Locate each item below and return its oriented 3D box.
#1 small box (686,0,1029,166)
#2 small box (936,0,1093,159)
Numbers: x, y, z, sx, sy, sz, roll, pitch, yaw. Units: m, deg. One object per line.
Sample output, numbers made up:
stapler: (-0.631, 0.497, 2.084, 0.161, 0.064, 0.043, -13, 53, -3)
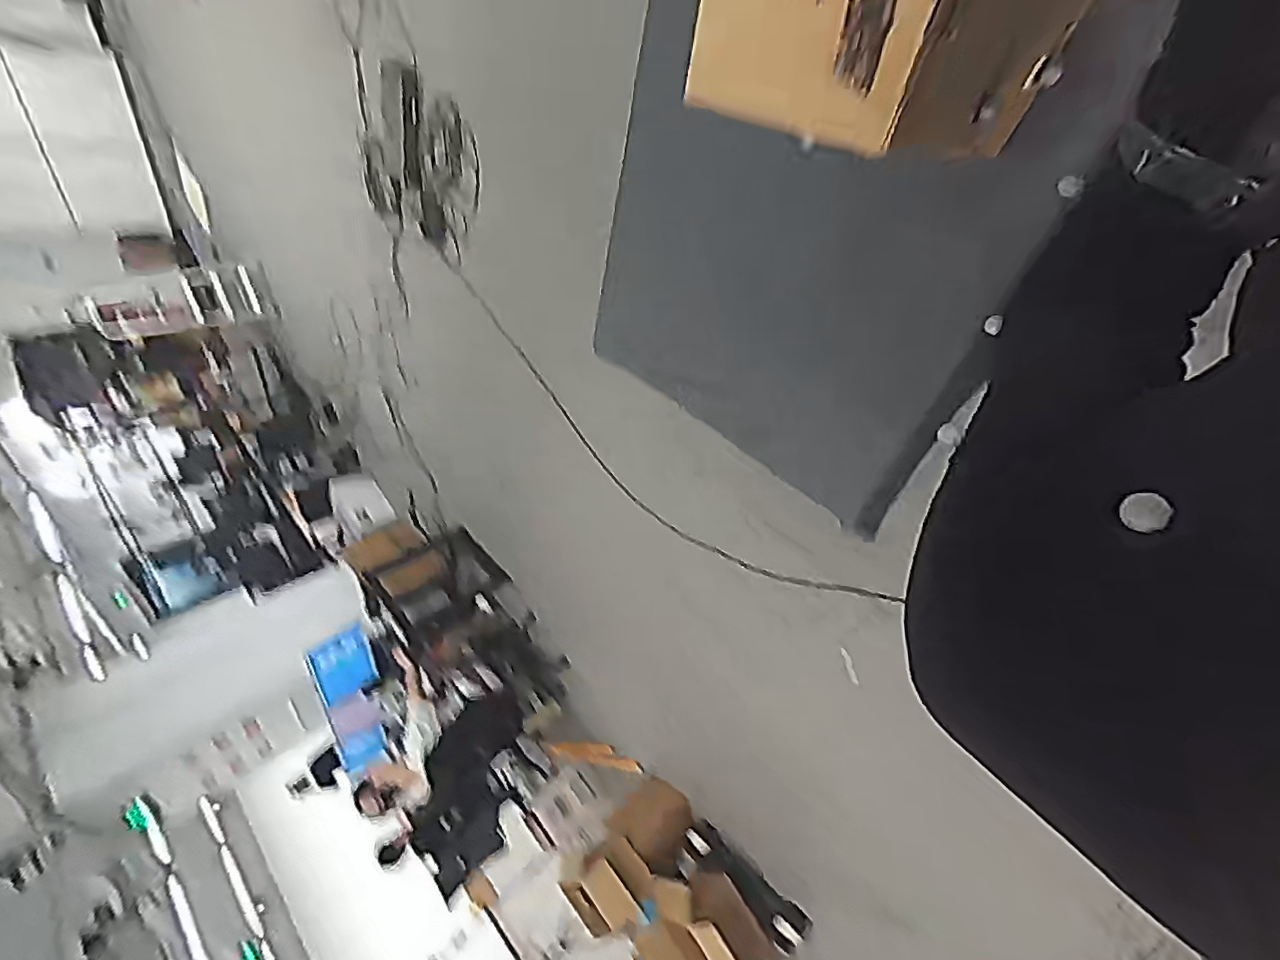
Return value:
small box: (0.165, -0.344, 0.394, 0.179, 0.176, 0.168, 39, 136, 30)
small box: (0.274, -0.411, 0.497, 0.179, 0.176, 0.168, 40, 137, 26)
